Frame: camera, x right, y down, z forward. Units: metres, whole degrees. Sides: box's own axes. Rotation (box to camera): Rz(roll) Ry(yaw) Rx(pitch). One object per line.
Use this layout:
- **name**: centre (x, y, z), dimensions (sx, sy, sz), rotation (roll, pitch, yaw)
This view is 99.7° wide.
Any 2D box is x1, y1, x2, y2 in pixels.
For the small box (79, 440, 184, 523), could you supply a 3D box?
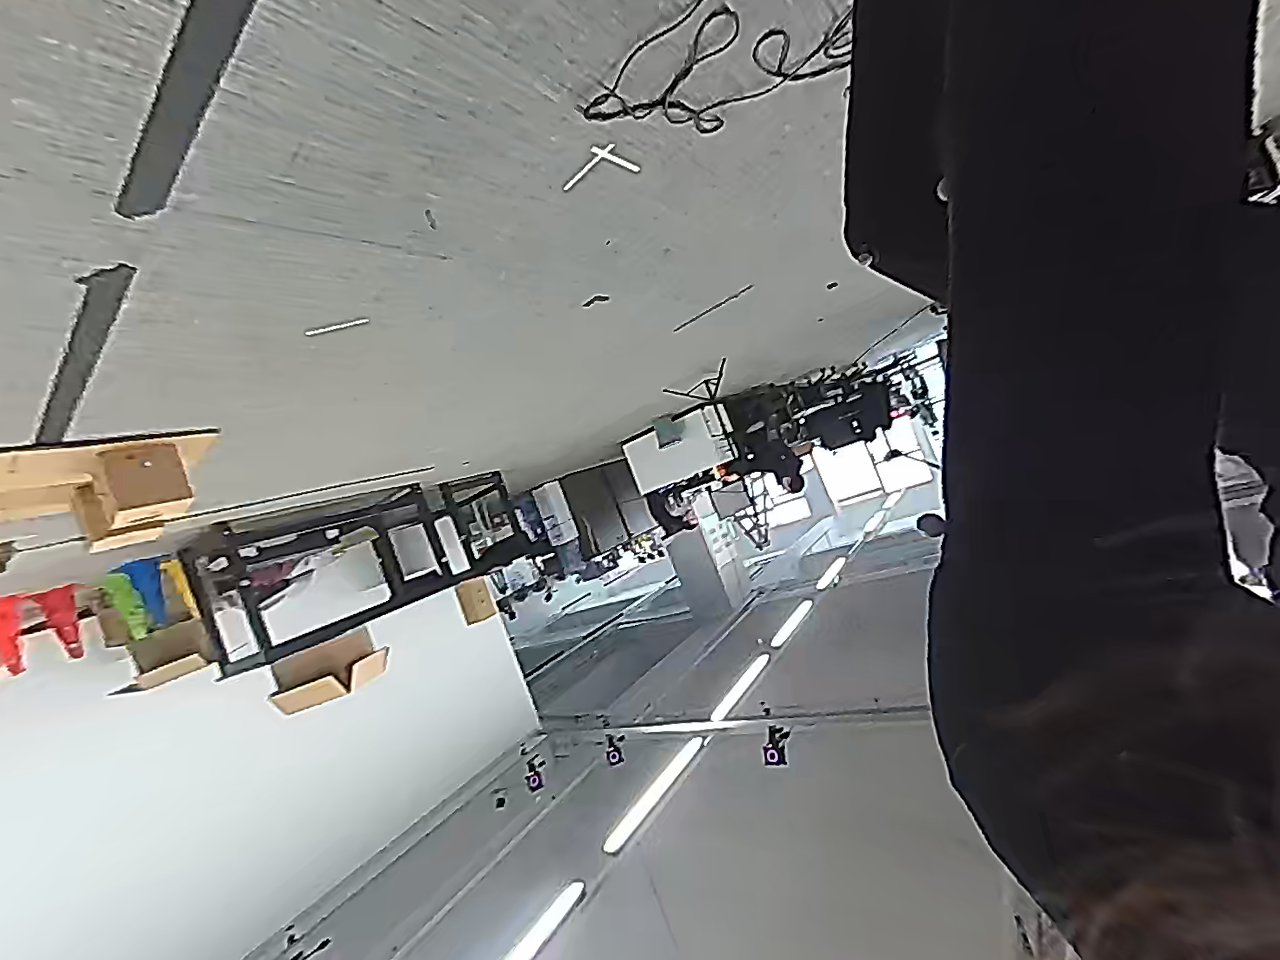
- **small box**: centre (-1.410, 0.000, 1.498), dimensions (0.179, 0.176, 0.168), rotation (-23, 178, 37)

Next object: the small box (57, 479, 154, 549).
- **small box**: centre (-1.633, 0.091, 1.650), dimensions (0.179, 0.176, 0.168), rotation (-22, 179, 37)
